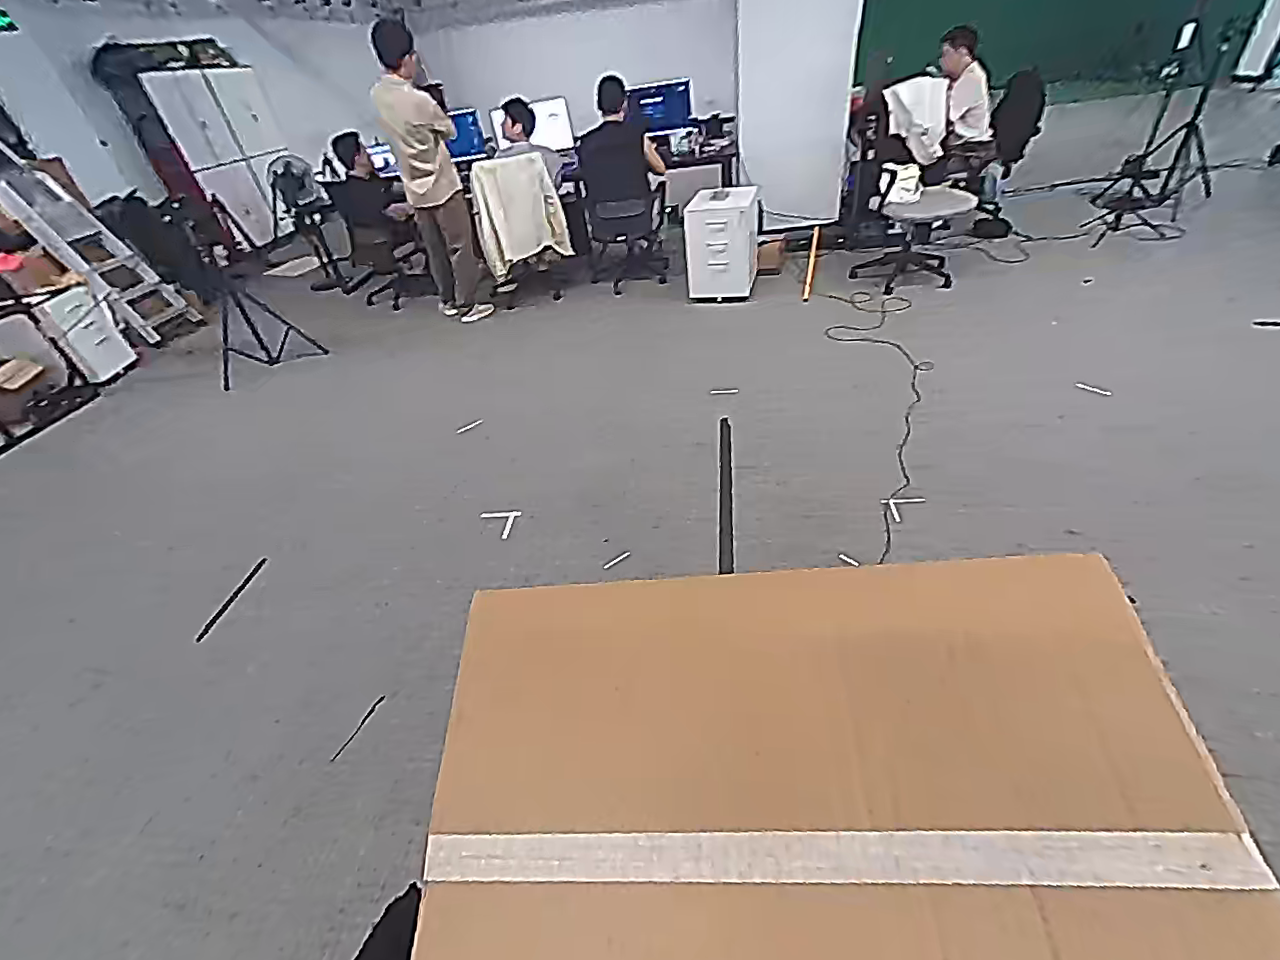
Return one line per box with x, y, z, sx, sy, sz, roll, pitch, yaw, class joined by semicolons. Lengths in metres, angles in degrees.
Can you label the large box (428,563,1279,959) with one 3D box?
0.108;0.281;0.403;0.408;0.320;0.320;-5;56;8;large box
